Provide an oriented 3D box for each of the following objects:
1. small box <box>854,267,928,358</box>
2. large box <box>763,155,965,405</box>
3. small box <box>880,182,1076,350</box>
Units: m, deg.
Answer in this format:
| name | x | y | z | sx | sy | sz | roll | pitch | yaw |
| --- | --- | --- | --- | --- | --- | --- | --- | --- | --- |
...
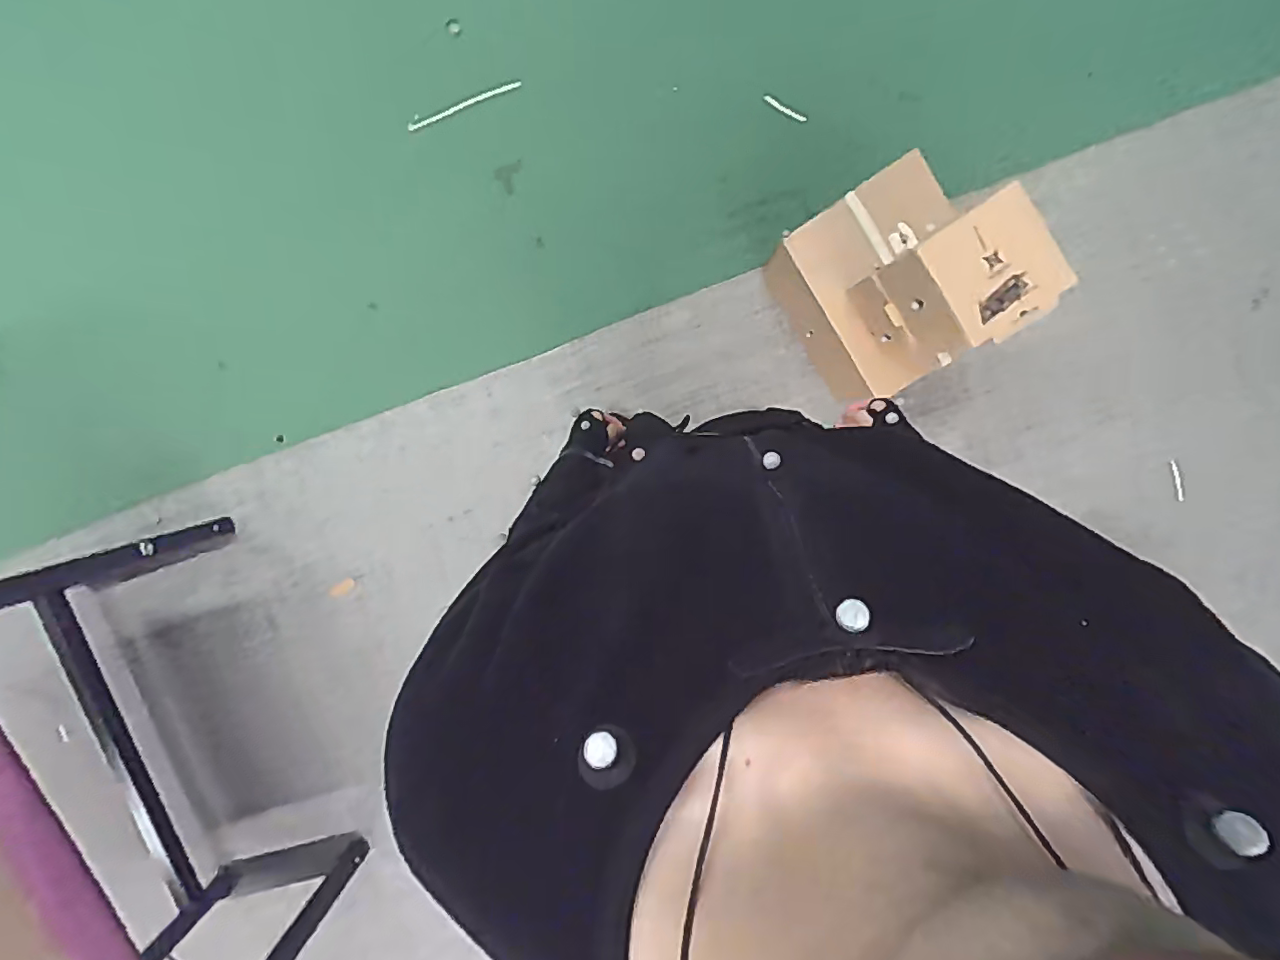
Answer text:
| name | x | y | z | sx | sy | sz | roll | pitch | yaw |
| --- | --- | --- | --- | --- | --- | --- | --- | --- | --- |
| small box | 0.528 | -0.346 | 1.018 | 0.179 | 0.176 | 0.168 | -32 | 95 | 8 |
| large box | 0.536 | -0.423 | 1.255 | 0.320 | 0.320 | 0.408 | -32 | 93 | 7 |
| small box | 0.519 | -0.320 | 0.856 | 0.168 | 0.176 | 0.179 | -33 | 94 | 9 |
